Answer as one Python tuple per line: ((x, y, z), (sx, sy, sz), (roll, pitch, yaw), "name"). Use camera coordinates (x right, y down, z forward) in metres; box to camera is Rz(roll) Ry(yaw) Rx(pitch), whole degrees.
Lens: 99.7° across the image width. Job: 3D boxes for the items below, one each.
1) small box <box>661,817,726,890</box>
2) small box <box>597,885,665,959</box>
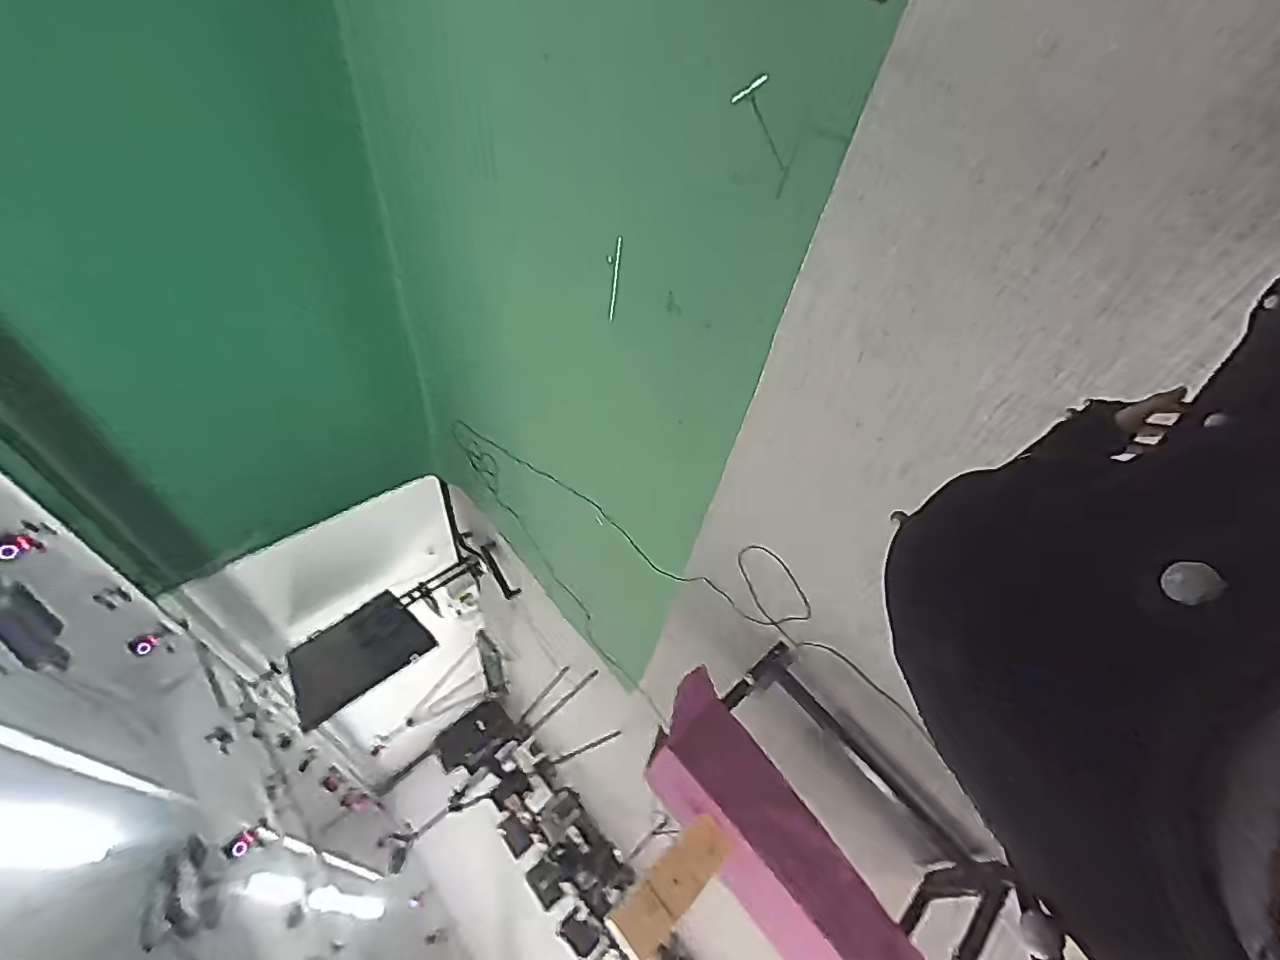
((0.209, 1.445, 2.097), (0.168, 0.176, 0.179), (46, 147, 22), "small box")
((-0.032, 1.587, 1.923), (0.168, 0.176, 0.179), (44, 145, 22), "small box")
